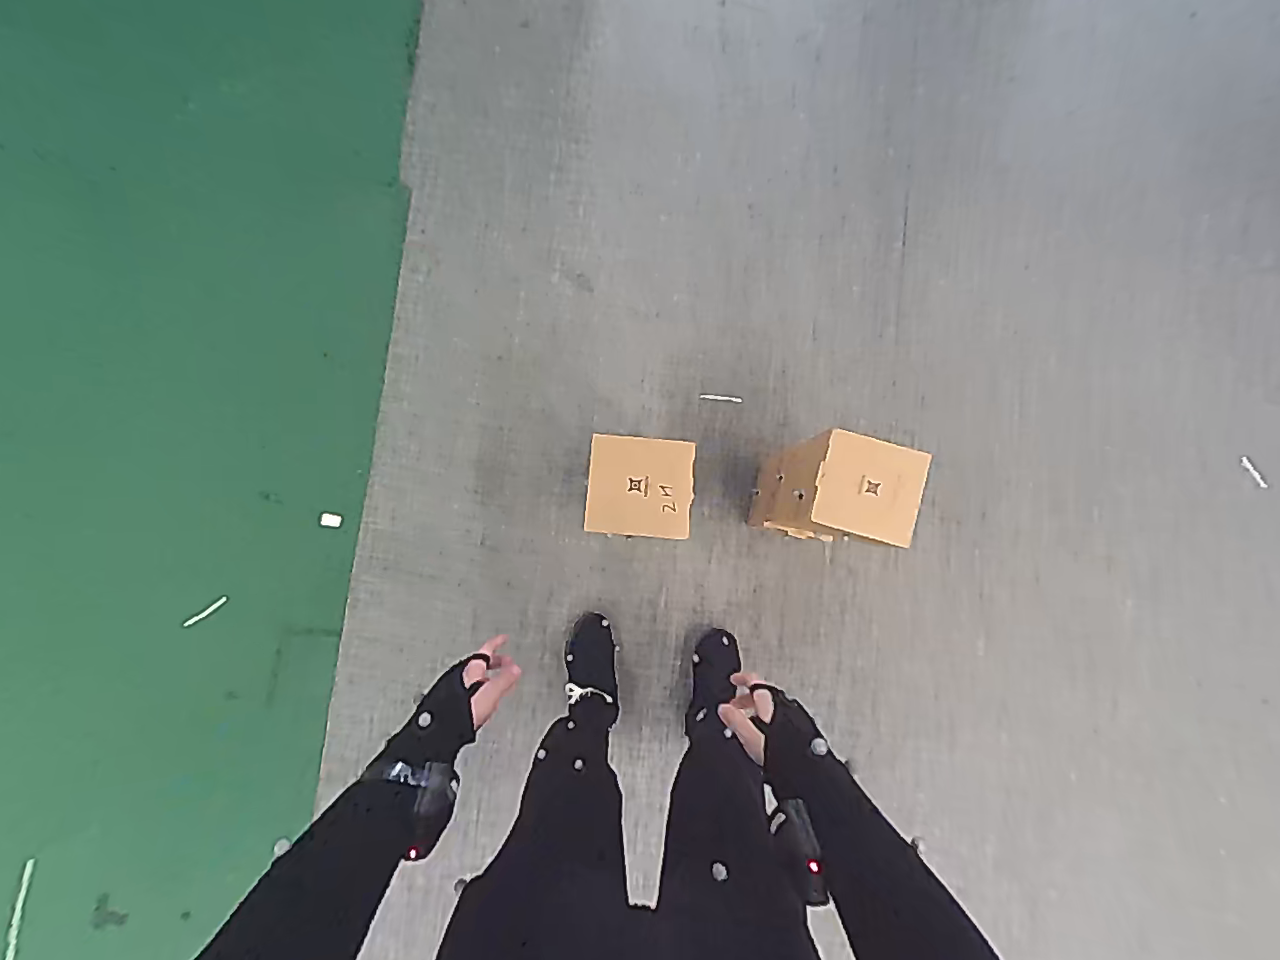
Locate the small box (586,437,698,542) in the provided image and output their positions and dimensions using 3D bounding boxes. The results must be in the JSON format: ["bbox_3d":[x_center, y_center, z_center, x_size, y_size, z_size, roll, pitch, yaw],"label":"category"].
[{"bbox_3d":[0.003,0.023,0.974,0.179,0.176,0.168,5,85,-1],"label":"small box"}]

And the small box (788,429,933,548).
[{"bbox_3d":[0.387,0.021,0.981,0.179,0.176,0.168,16,86,1],"label":"small box"}]

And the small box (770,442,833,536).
[{"bbox_3d":[0.392,0.027,1.144,0.179,0.176,0.168,11,85,1],"label":"small box"}]

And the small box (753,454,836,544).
[{"bbox_3d":[0.380,0.048,1.305,0.168,0.176,0.179,13,86,0],"label":"small box"}]
